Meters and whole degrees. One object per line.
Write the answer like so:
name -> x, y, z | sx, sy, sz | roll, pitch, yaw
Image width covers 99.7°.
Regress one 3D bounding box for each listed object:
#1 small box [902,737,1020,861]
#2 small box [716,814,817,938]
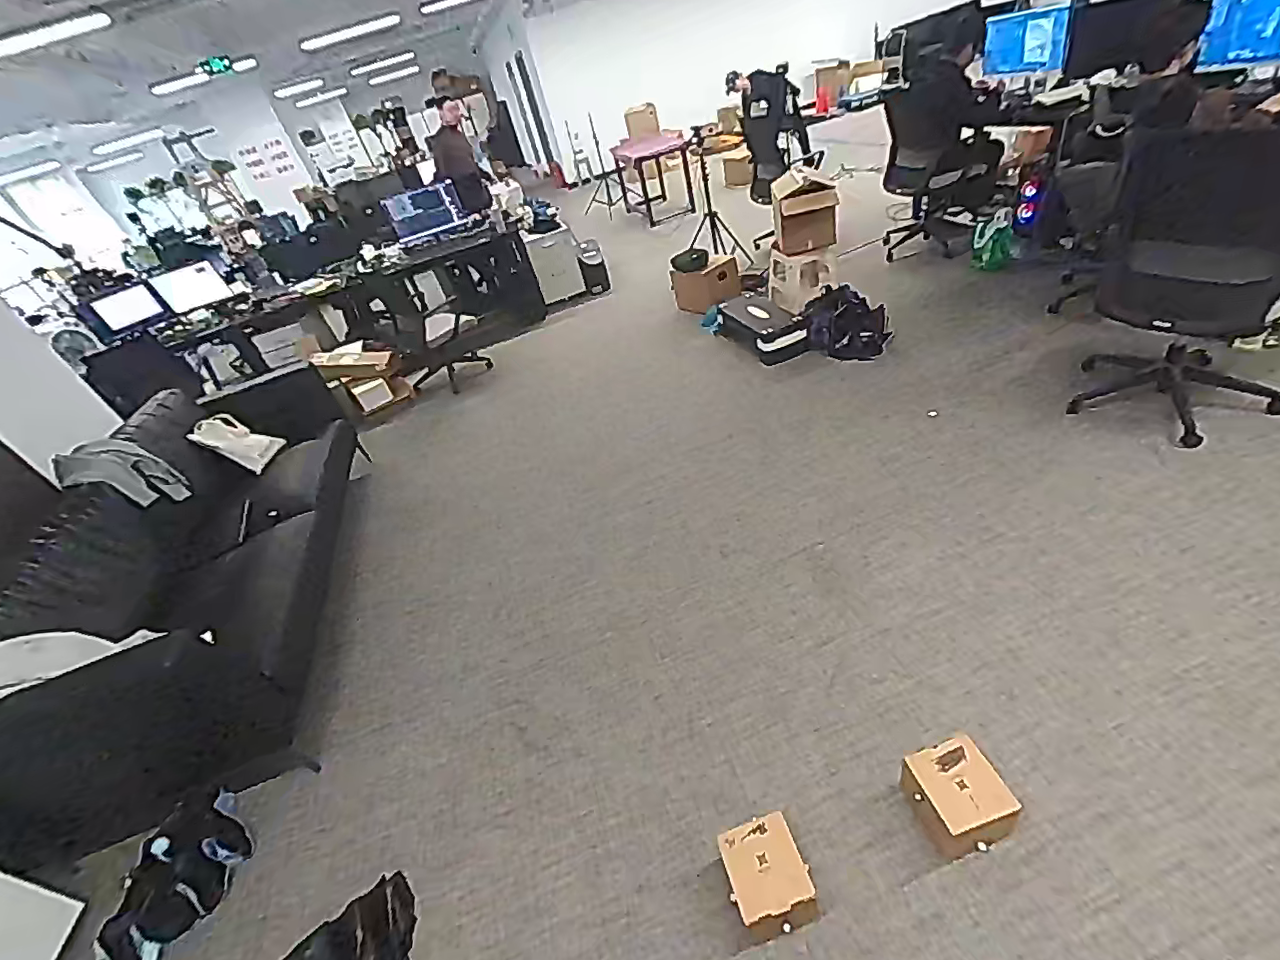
small box -> 0.739, 0.748, 1.268 | 0.168, 0.176, 0.179 | -20, 38, -2
small box -> 0.293, 0.917, 1.246 | 0.168, 0.176, 0.179 | -20, 37, -2
